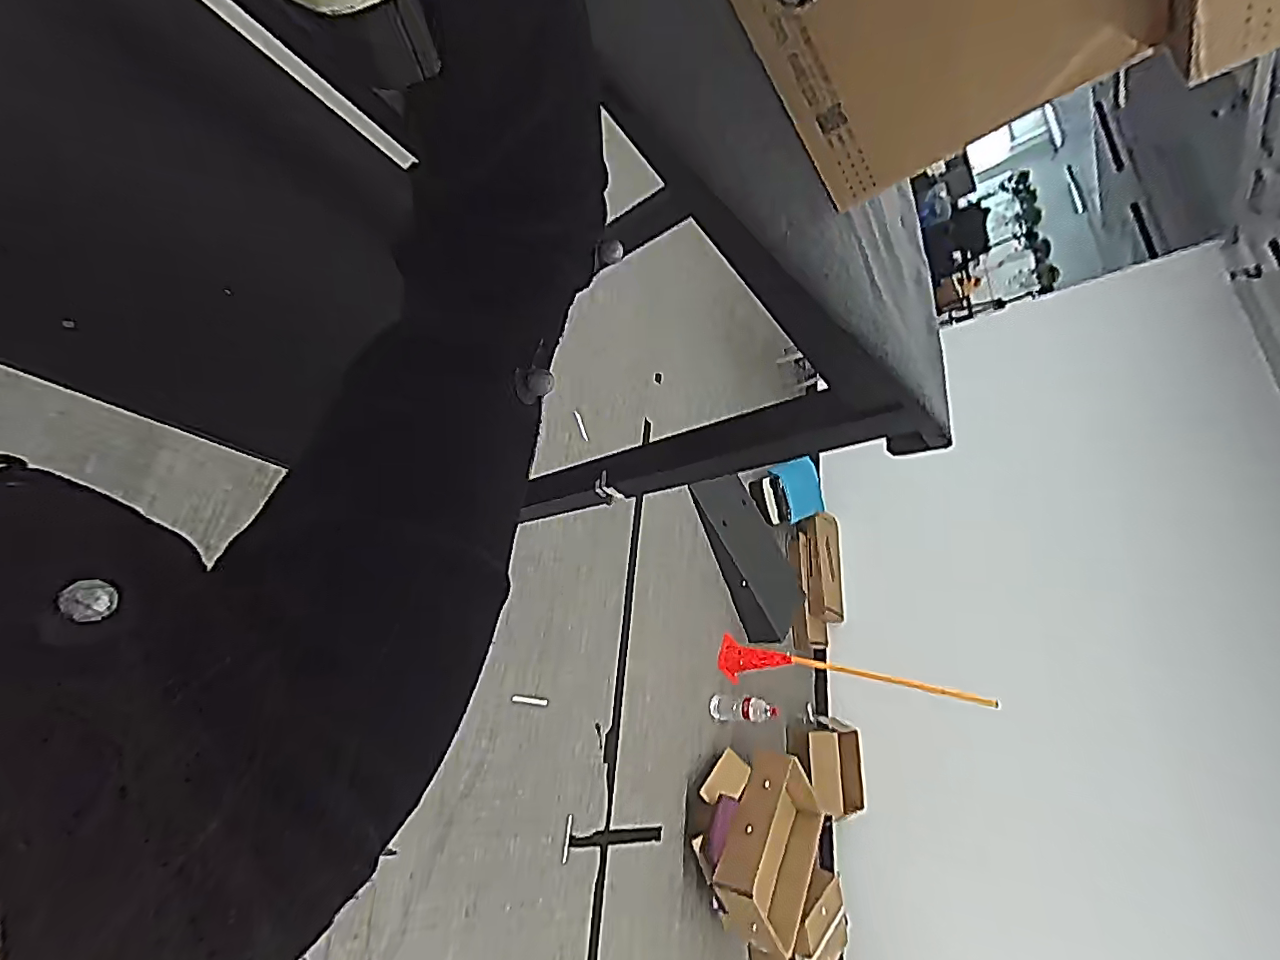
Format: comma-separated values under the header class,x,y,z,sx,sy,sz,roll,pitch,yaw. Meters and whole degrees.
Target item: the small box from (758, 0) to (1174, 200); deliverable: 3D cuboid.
class,x,y,z,sx,sy,sz,roll,pitch,yaw
small box,0.164,-0.306,0.307,0.168,0.176,0.179,36,51,-40
